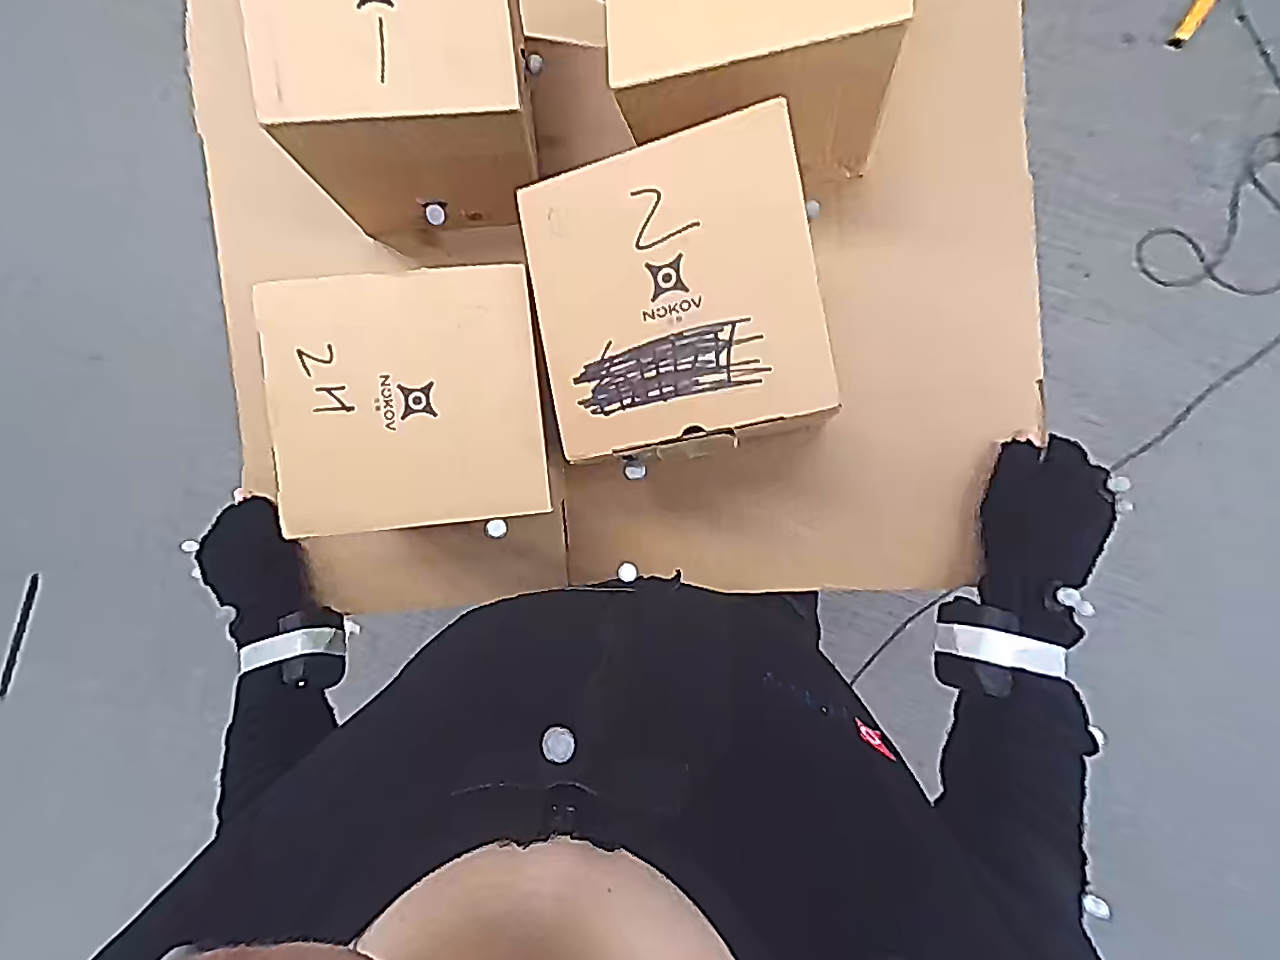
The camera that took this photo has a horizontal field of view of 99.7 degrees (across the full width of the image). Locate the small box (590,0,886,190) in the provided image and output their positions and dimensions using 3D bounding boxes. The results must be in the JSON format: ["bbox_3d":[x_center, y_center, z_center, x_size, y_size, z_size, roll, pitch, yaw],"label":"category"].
[{"bbox_3d":[0.068,-0.329,0.375,0.168,0.176,0.179,-3,91,15],"label":"small box"}]
